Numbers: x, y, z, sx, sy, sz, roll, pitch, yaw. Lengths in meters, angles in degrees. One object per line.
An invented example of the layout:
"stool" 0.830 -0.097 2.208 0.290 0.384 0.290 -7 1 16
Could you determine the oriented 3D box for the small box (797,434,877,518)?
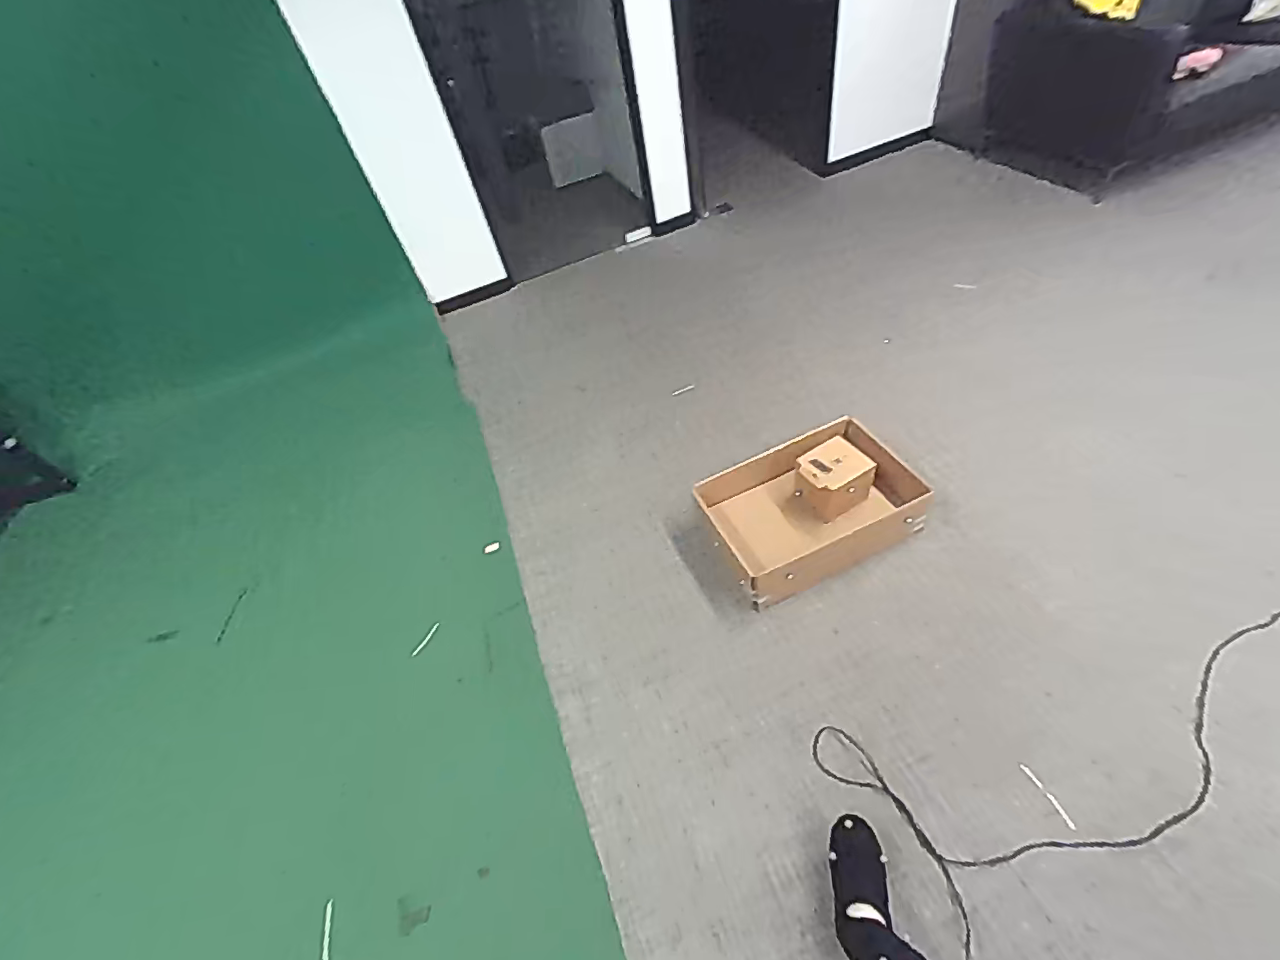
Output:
"small box" 0.626 -0.008 1.731 0.179 0.176 0.168 -30 50 -12
